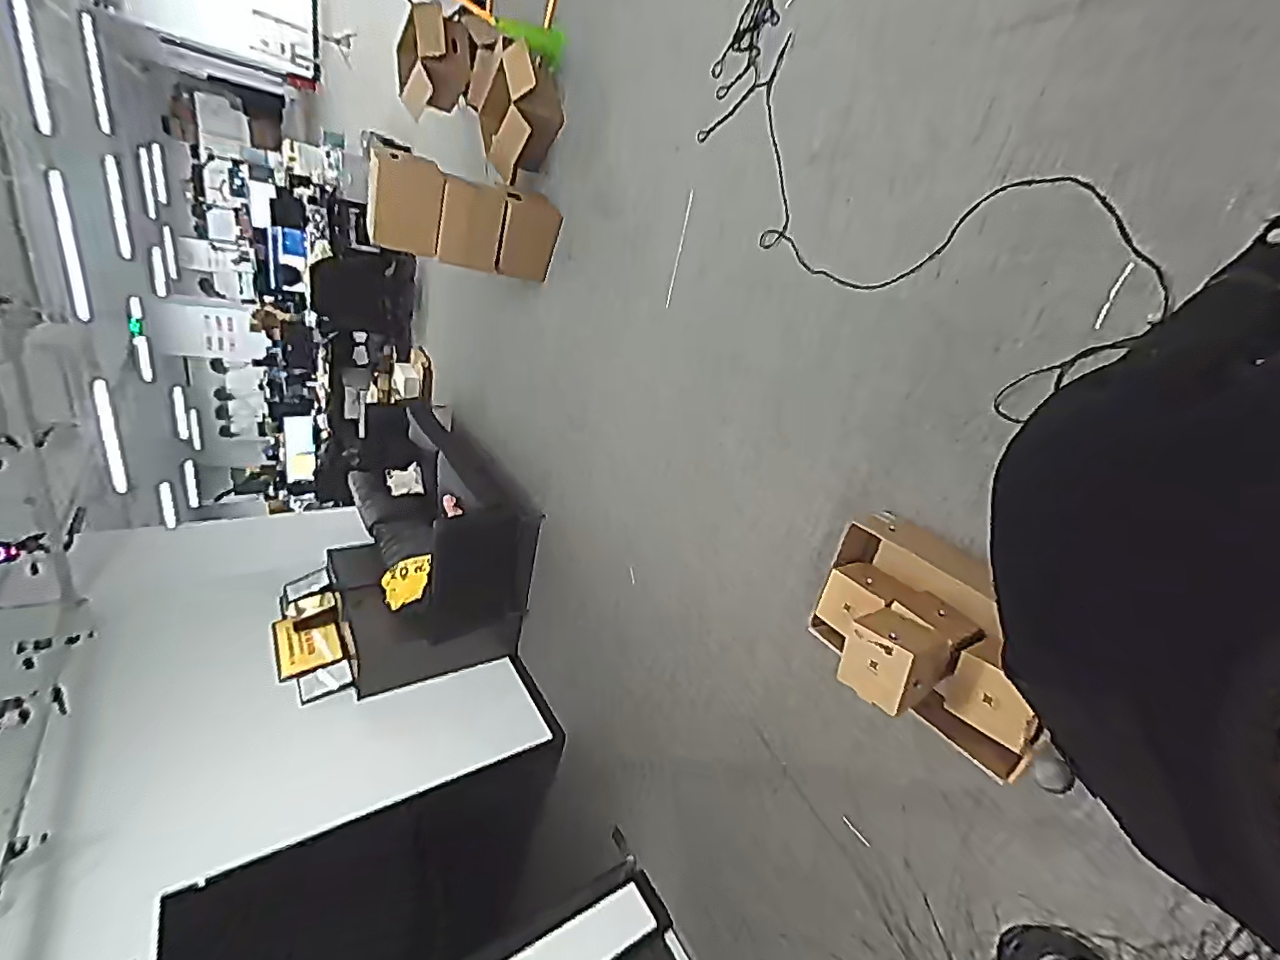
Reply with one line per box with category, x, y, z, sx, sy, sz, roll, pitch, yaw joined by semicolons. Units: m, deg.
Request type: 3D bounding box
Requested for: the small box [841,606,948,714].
small box;0.640;0.443;1.356;0.168;0.176;0.179;26;115;49
